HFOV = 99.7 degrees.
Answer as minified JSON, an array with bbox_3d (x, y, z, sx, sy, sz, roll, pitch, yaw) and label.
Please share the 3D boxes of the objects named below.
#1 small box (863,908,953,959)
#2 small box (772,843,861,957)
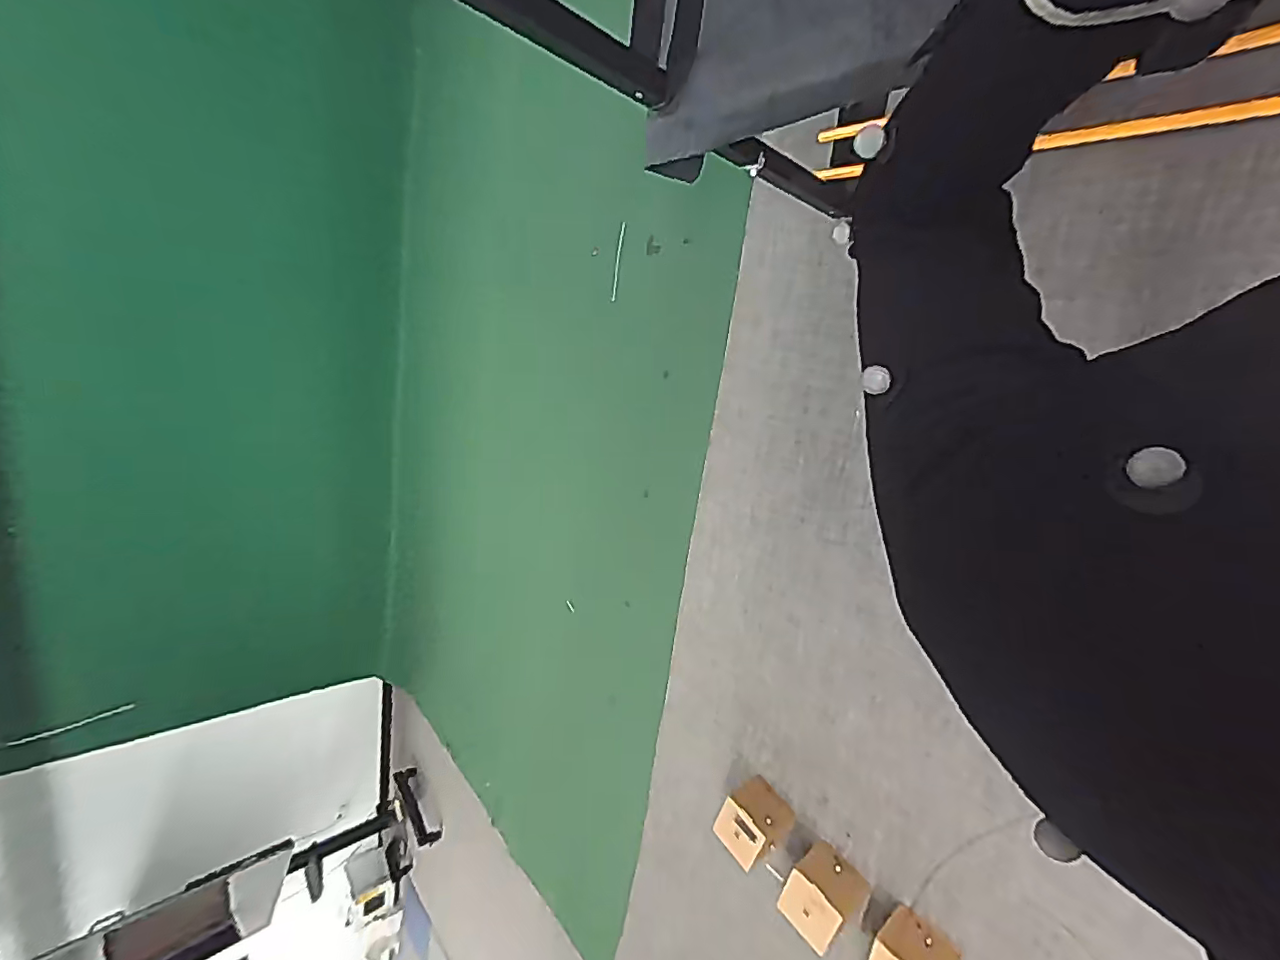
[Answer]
[{"bbox_3d":[0.702,1.305,1.433,0.168,0.176,0.179,22,108,44],"label":"small box"},{"bbox_3d":[0.530,1.244,1.613,0.168,0.176,0.179,32,114,41],"label":"small box"}]
